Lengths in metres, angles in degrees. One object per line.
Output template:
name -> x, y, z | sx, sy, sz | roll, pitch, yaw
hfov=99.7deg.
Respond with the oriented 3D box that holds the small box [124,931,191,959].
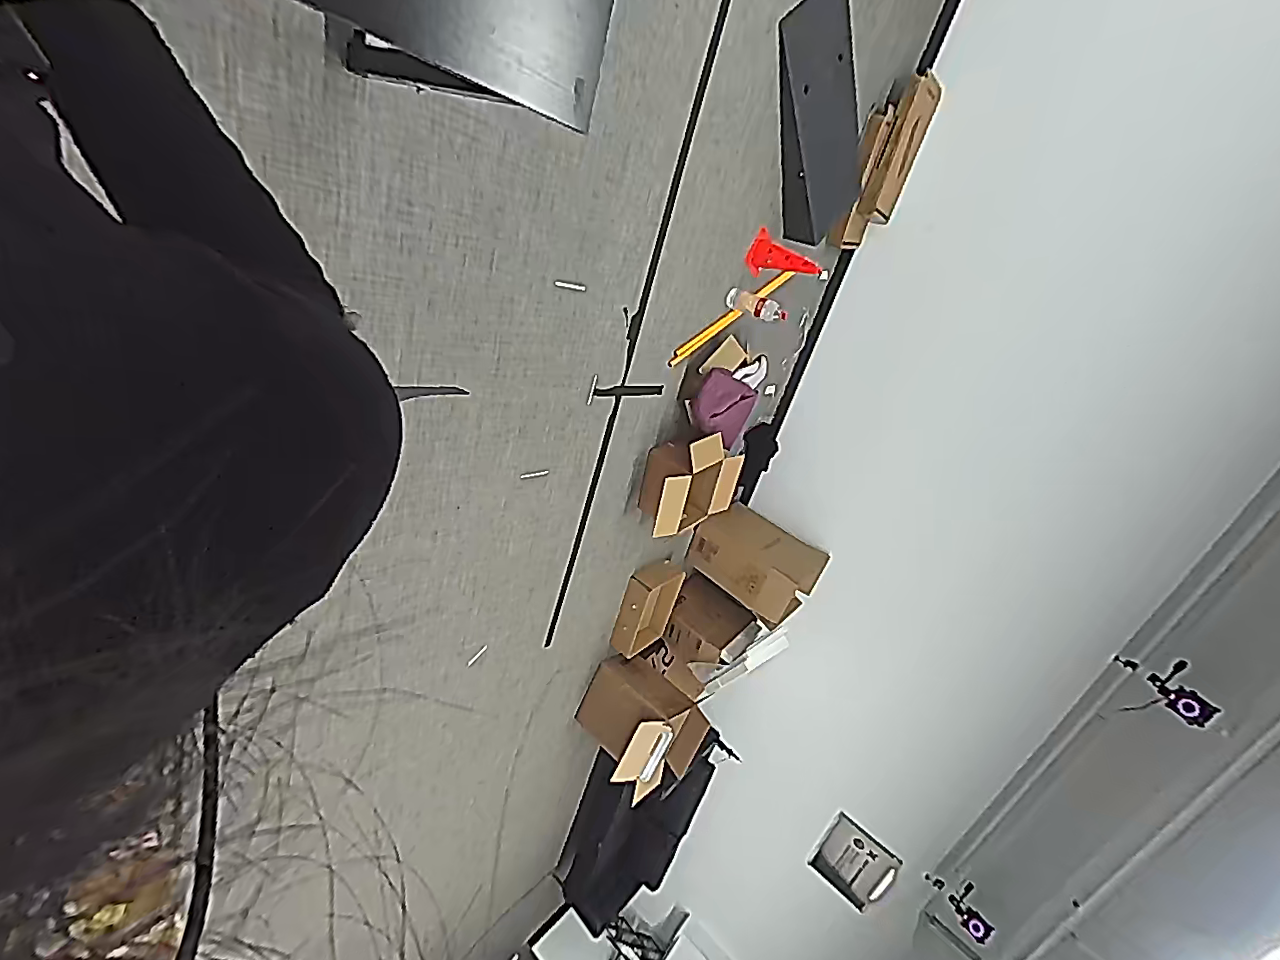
small box -> -1.196, 1.268, 1.318 | 0.168, 0.176, 0.179 | -17, 127, -51
